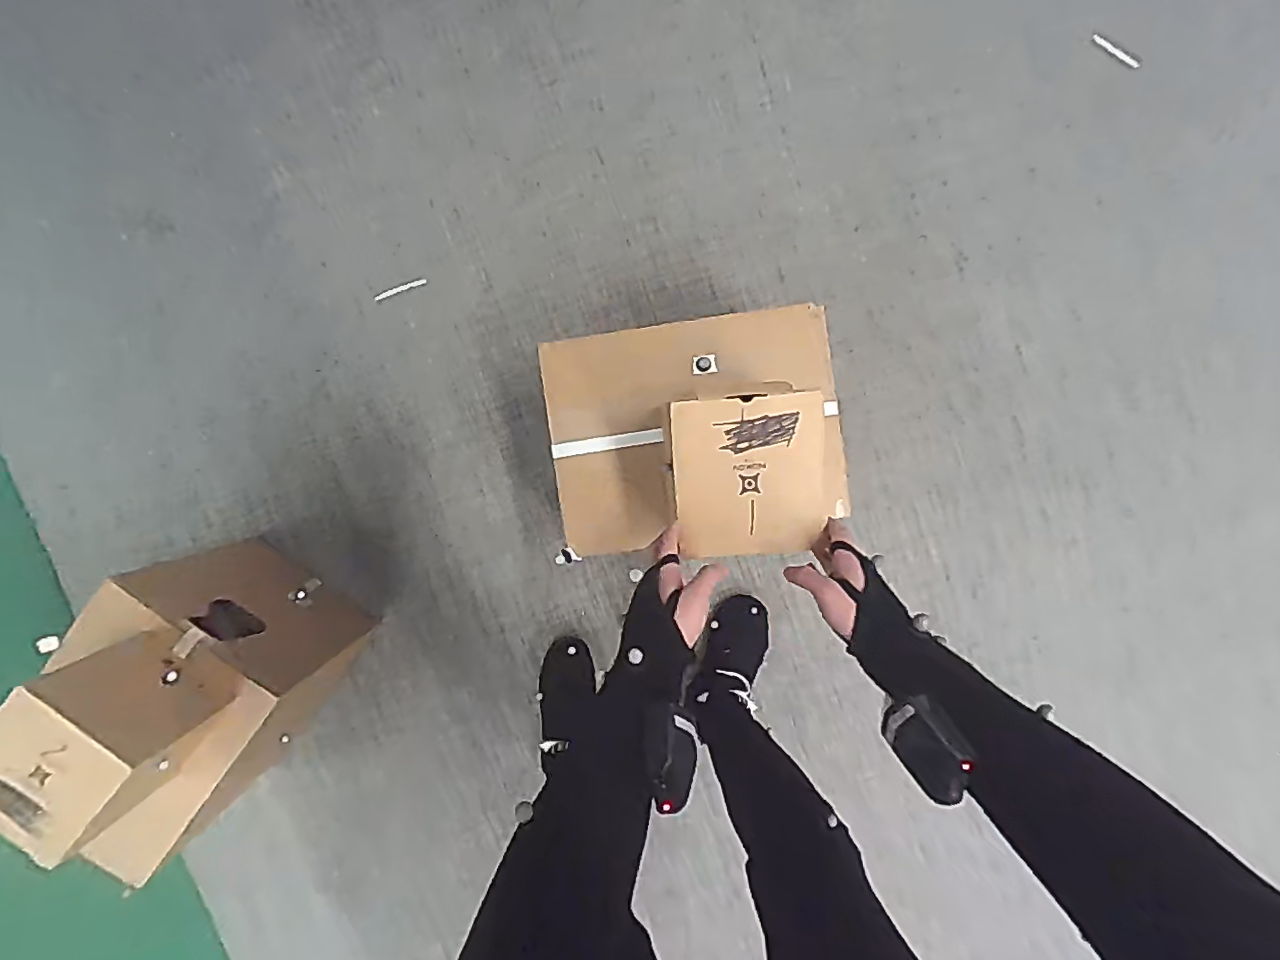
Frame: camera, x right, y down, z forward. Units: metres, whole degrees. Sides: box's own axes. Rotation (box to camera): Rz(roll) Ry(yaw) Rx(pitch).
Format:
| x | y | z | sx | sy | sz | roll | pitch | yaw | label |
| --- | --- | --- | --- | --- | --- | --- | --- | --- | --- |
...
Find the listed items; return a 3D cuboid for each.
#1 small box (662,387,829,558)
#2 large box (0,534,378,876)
| x | y | z | sx | sy | sz | roll | pitch | yaw | label |
| --- | --- | --- | --- | --- | --- | --- | --- | --- | --- |
| 0.117 | -0.015 | 0.659 | 0.168 | 0.176 | 0.179 | -5 | 97 | 1 | small box |
| -0.772 | 0.367 | 0.979 | 0.320 | 0.320 | 0.408 | 37 | 96 | -2 | large box |
